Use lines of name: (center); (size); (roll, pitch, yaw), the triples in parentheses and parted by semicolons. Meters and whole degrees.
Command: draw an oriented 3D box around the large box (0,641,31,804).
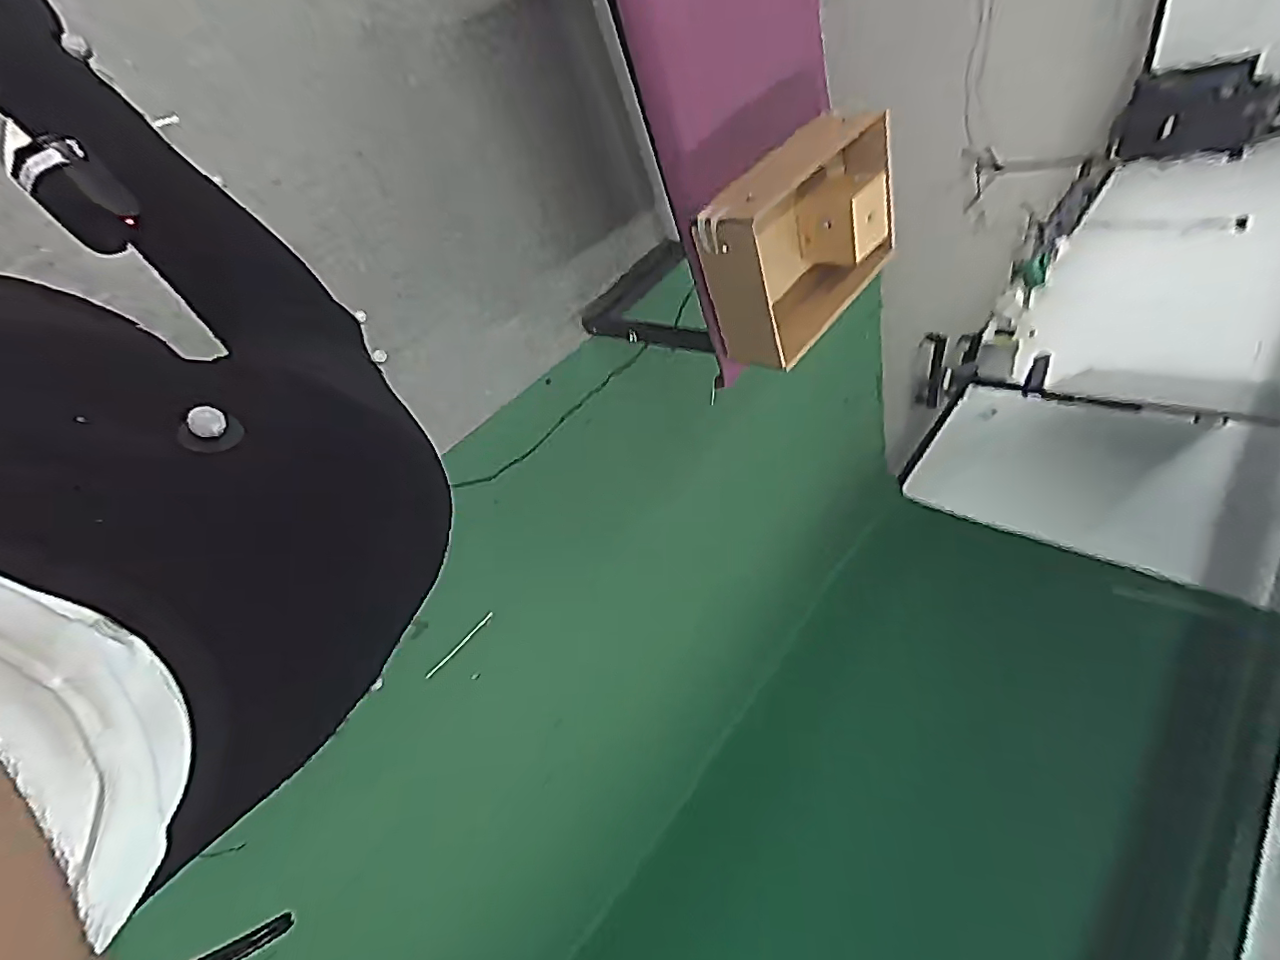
large box: (-1.456, 0.512, 0.989); (0.408, 0.320, 0.320); (18, 95, -50)

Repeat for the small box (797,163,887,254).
small box: (0.538, -0.725, 1.456); (0.179, 0.176, 0.168); (-44, 133, -23)
